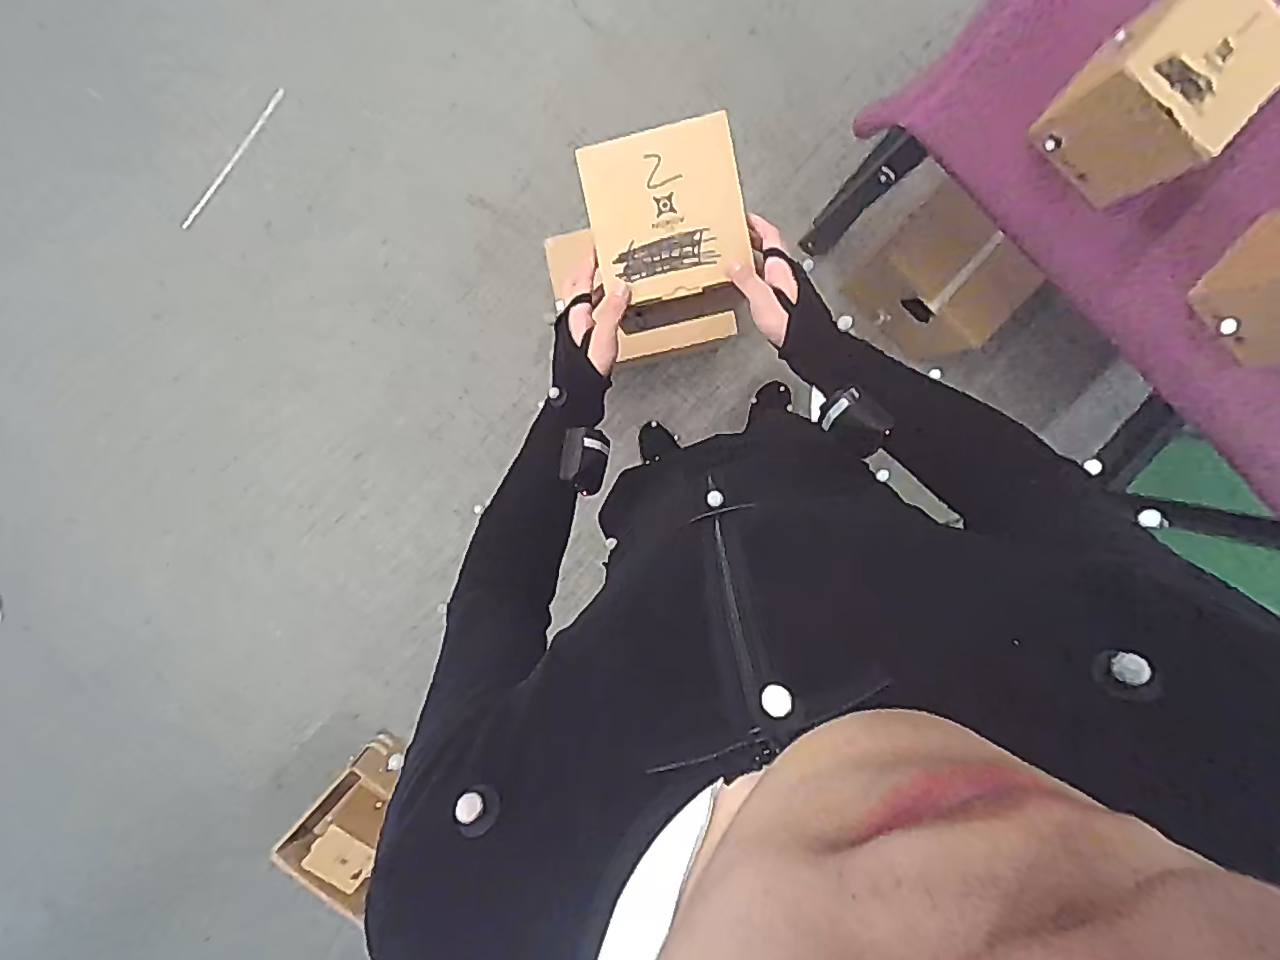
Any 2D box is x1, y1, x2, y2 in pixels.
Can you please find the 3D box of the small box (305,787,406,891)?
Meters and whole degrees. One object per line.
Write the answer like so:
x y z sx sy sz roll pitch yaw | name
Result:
-0.857 1.078 1.644 0.179 0.176 0.168 38 96 -6 | small box

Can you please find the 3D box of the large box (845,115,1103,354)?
0.815 -0.587 1.383 0.320 0.320 0.408 41 95 -6 | large box

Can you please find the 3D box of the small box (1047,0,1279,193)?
0.698 -0.528 0.721 0.168 0.176 0.179 40 95 -6 | small box

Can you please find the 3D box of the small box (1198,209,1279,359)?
0.970 -0.292 0.757 0.168 0.176 0.179 43 96 -5 | small box
